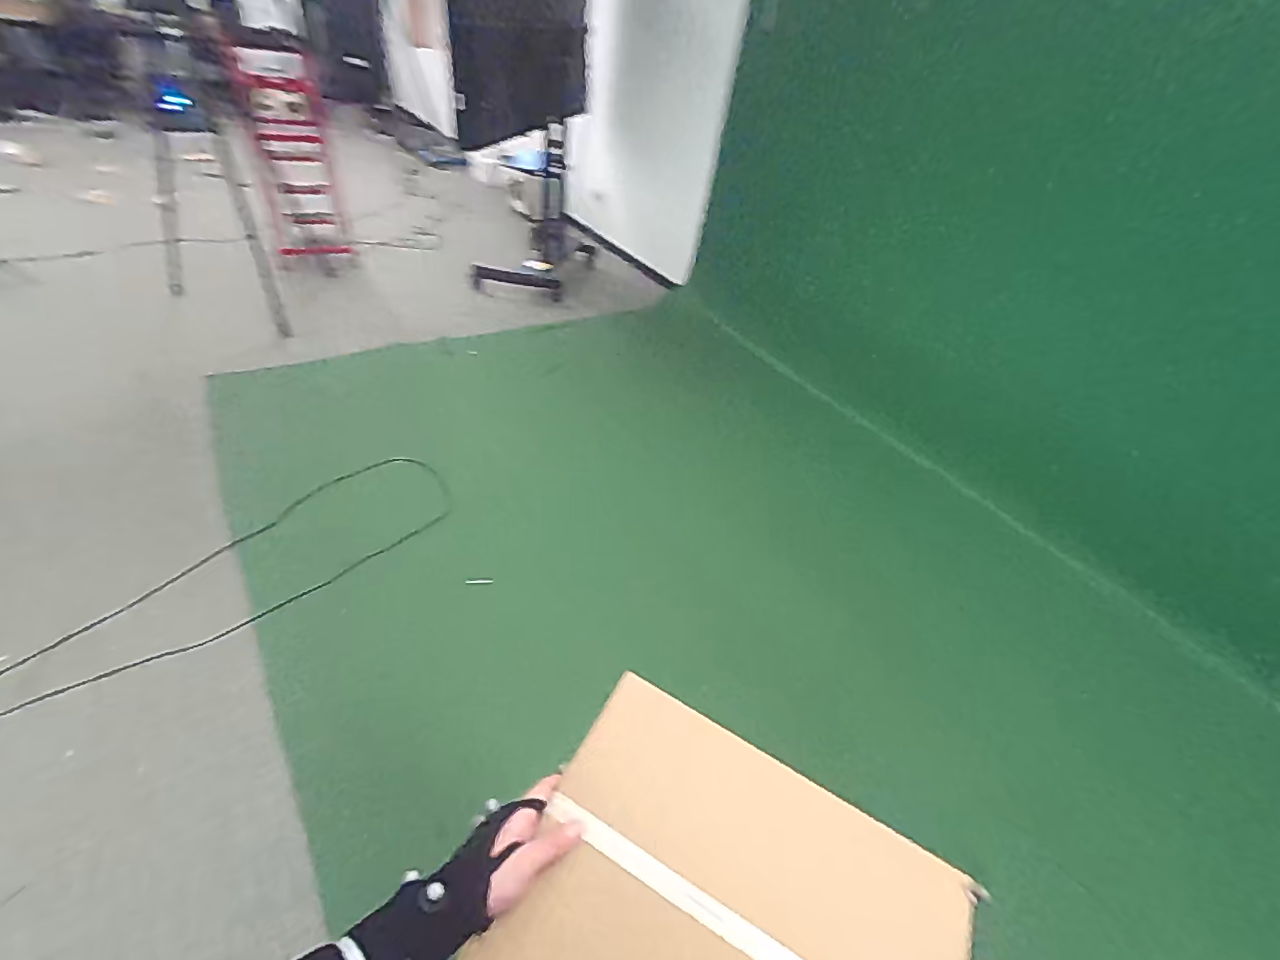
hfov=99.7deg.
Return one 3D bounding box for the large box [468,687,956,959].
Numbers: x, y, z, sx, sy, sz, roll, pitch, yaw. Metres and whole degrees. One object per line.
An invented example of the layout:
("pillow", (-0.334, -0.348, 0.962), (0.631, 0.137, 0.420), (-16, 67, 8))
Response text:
("large box", (0.062, 0.519, 0.616), (0.408, 0.320, 0.320), (27, 50, 14))
